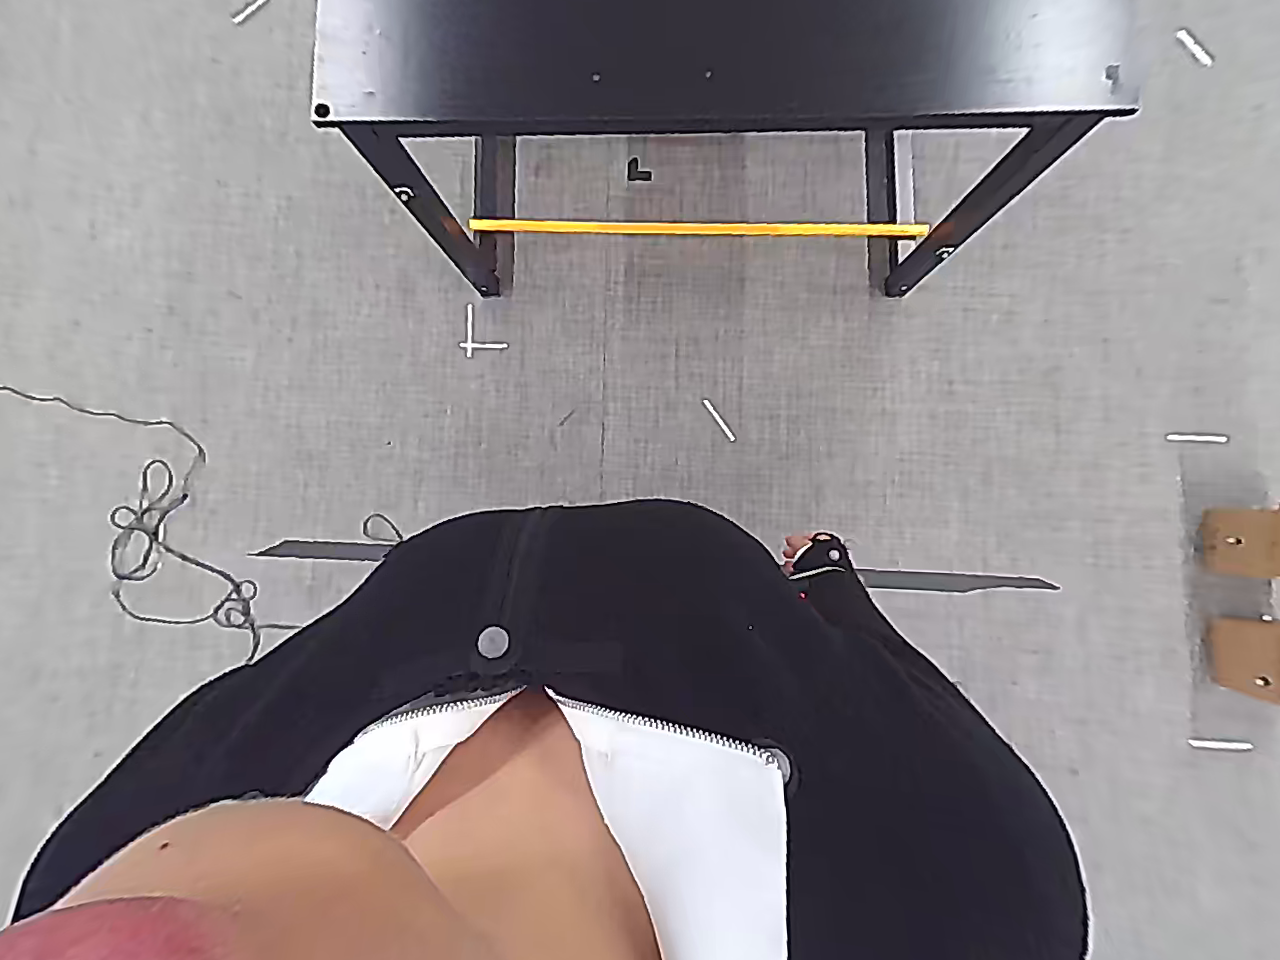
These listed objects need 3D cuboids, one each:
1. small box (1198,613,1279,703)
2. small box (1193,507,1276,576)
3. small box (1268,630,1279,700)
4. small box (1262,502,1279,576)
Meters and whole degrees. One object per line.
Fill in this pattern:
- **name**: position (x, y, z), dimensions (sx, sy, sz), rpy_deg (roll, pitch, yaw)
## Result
- **small box**: position (1.561, 0.443, 1.355), dimensions (0.168, 0.176, 0.179), rpy_deg (0, 88, 2)
- **small box**: position (1.565, 0.156, 1.367), dimensions (0.179, 0.176, 0.168), rpy_deg (4, 87, 3)
- **small box**: position (1.567, 0.432, 1.193), dimensions (0.179, 0.176, 0.168), rpy_deg (2, 87, 3)
- **small box**: position (1.556, 0.139, 1.201), dimensions (0.168, 0.176, 0.179), rpy_deg (5, 88, 2)
